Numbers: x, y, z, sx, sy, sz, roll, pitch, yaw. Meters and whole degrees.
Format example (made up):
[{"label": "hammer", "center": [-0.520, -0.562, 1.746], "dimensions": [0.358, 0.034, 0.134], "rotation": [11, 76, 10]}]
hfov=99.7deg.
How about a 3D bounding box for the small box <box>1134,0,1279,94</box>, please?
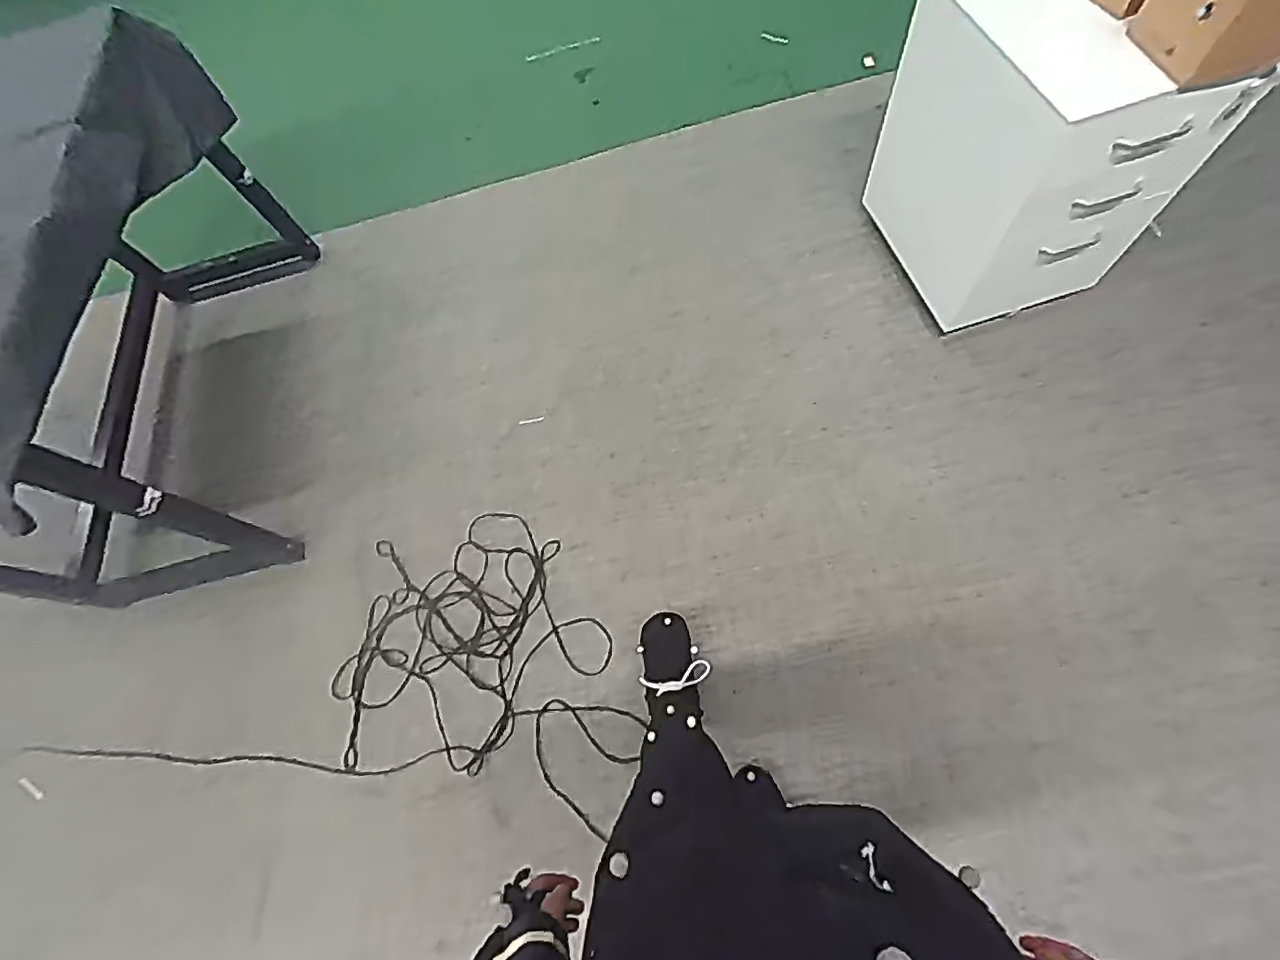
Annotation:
[{"label": "small box", "center": [0.931, -0.743, 0.838], "dimensions": [0.179, 0.176, 0.168], "rotation": [-14, 66, 3]}]
